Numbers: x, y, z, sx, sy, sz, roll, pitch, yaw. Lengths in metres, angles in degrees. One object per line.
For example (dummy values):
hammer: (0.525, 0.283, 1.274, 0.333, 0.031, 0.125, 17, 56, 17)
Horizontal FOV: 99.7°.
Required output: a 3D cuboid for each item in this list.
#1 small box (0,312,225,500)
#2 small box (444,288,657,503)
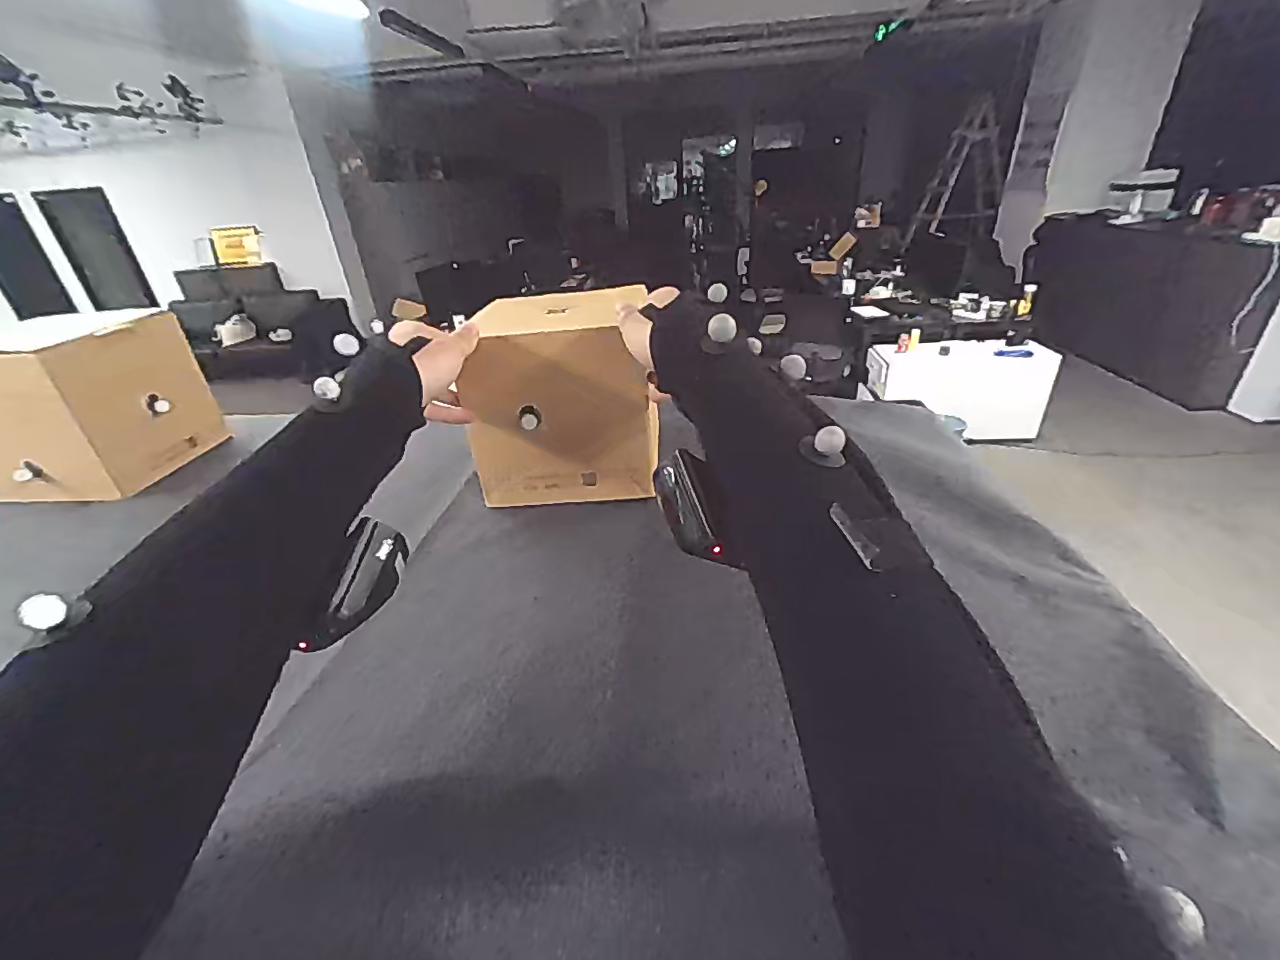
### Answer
small box: (-0.638, -0.087, 0.621, 0.179, 0.176, 0.168, -1, 30, 4)
small box: (-0.070, -0.085, 0.546, 0.168, 0.176, 0.179, -3, 28, 4)
